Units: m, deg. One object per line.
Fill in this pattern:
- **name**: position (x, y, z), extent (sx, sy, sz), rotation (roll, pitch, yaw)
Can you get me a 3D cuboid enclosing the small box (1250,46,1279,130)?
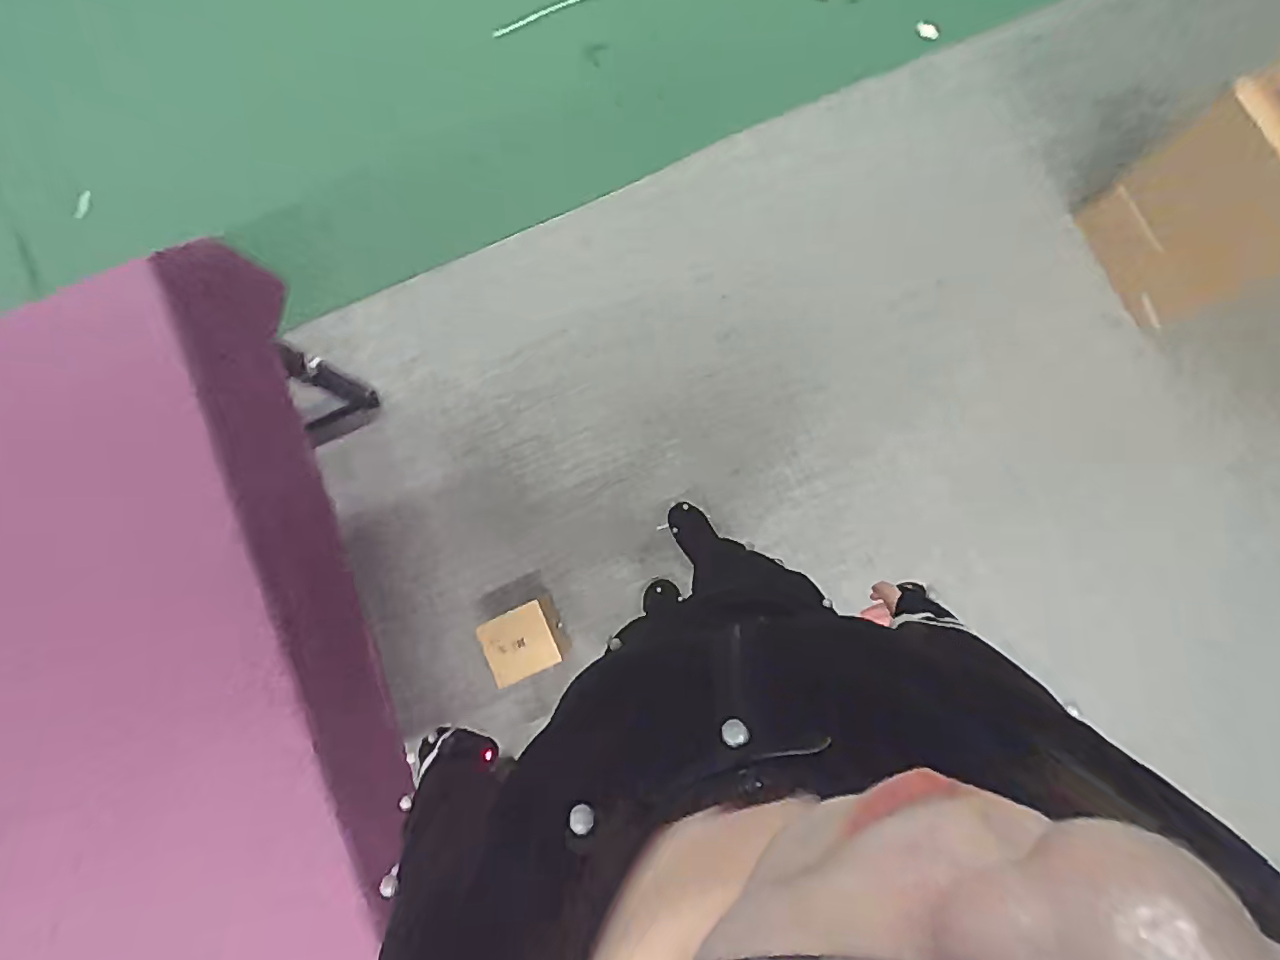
- **small box**: position (1.372, -0.824, 1.041), extent (0.179, 0.176, 0.168), rotation (-24, 85, 1)
